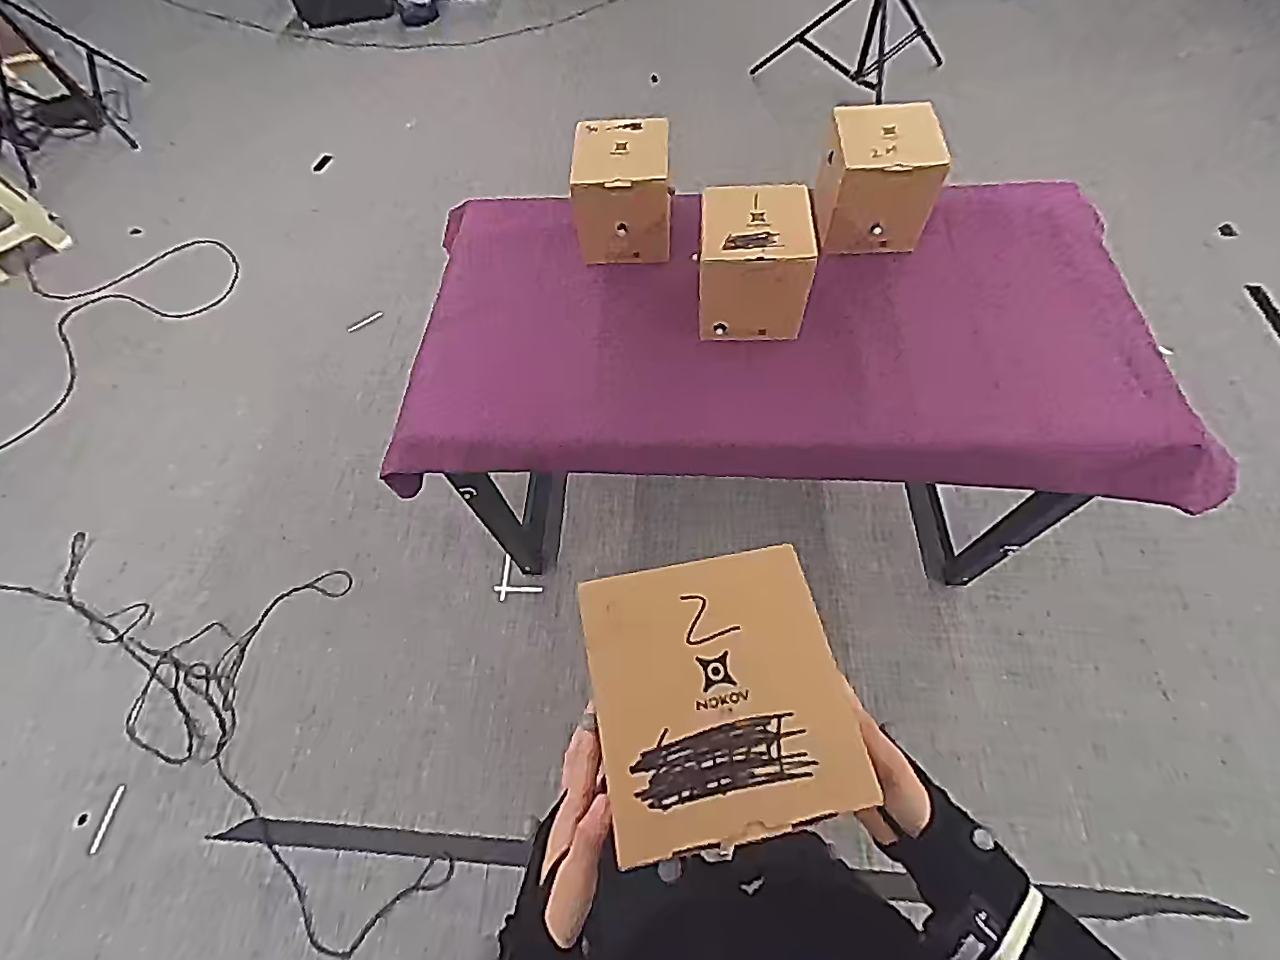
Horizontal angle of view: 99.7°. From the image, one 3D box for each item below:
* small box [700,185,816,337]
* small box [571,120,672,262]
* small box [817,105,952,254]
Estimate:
[{"bbox_3d":[0.186,-0.353,0.892,0.168,0.176,0.179,1,61,5],"label":"small box"},{"bbox_3d":[-0.025,-0.525,1.000,0.168,0.176,0.179,0,64,4],"label":"small box"},{"bbox_3d":[0.422,-0.533,0.968,0.168,0.176,0.179,0,63,6],"label":"small box"}]
